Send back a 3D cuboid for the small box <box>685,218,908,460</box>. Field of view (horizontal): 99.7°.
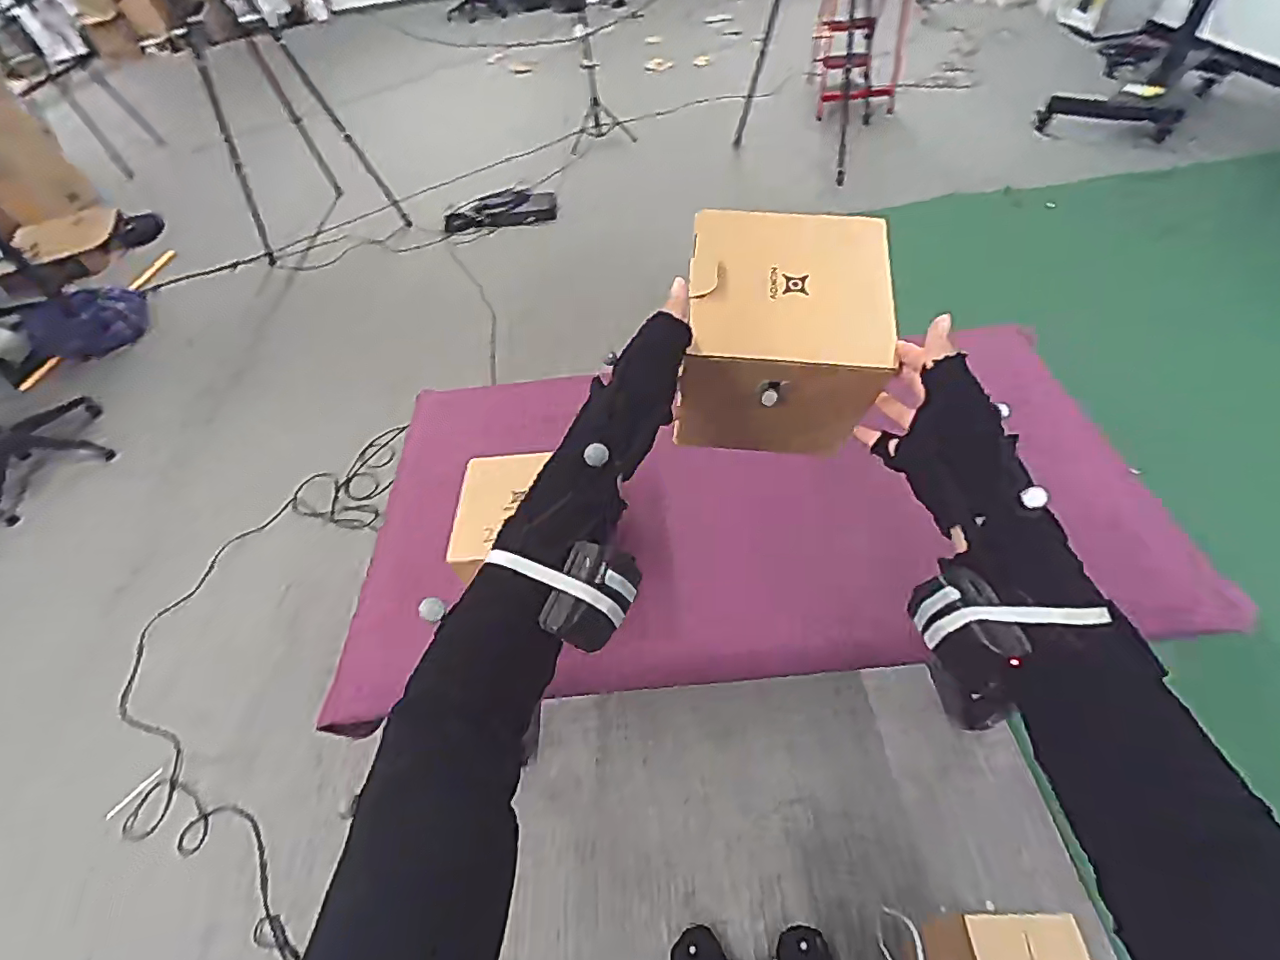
[{"bbox_3d":[0.144,-0.130,0.546,0.179,0.176,0.168,6,68,4],"label":"small box"}]

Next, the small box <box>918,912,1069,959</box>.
[{"bbox_3d":[0.575,0.806,0.866,0.168,0.176,0.179,-3,51,4],"label":"small box"}]

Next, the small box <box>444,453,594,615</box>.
[{"bbox_3d":[-0.163,0.081,0.796,0.168,0.176,0.179,-3,52,4],"label":"small box"}]
